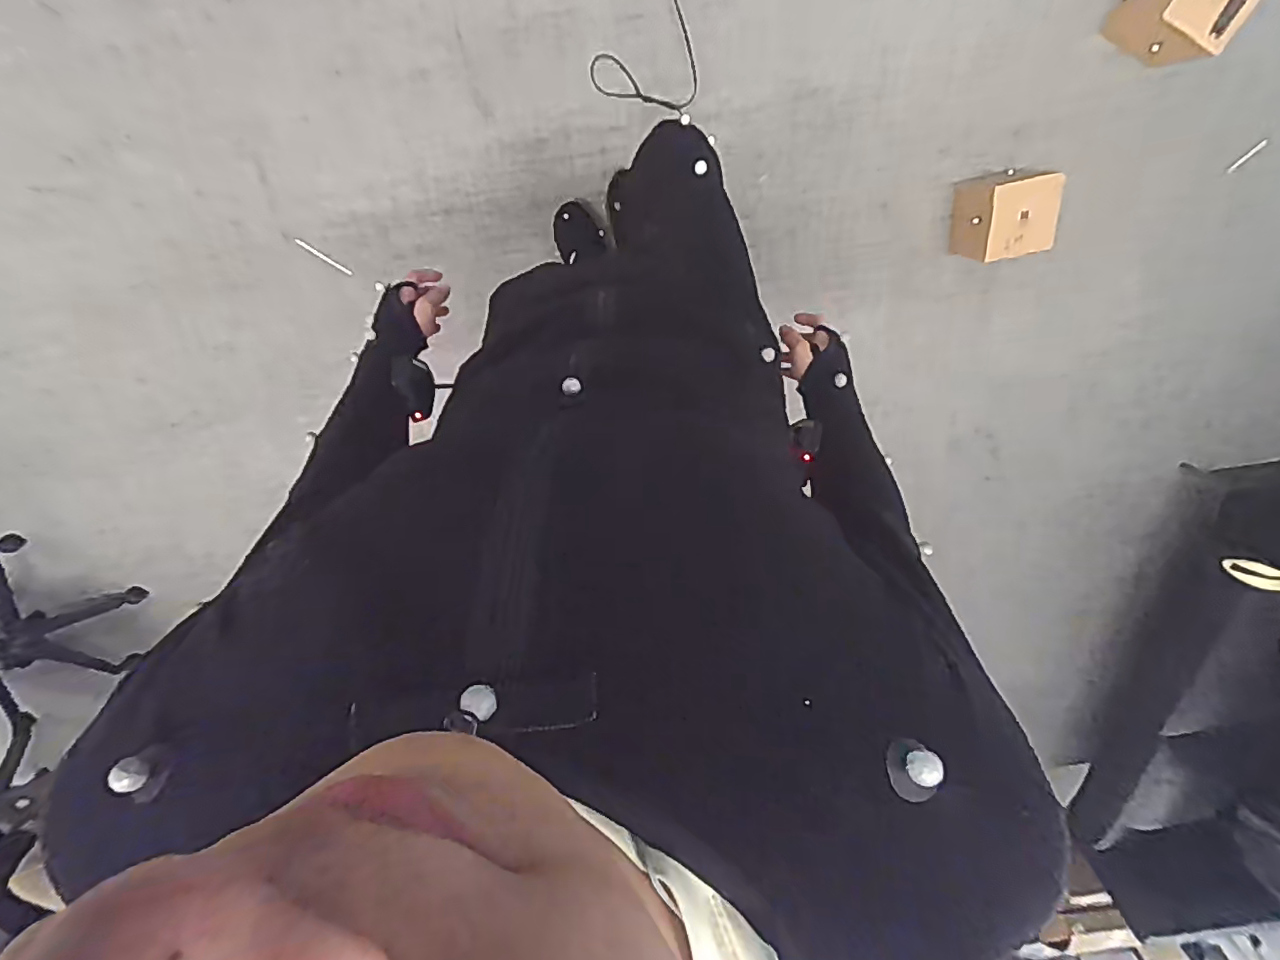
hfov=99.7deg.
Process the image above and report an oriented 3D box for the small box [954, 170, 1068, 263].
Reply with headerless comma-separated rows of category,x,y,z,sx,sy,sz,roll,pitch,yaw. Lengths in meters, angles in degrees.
small box,0.918,-0.665,1.358,0.168,0.176,0.179,-11,122,4
